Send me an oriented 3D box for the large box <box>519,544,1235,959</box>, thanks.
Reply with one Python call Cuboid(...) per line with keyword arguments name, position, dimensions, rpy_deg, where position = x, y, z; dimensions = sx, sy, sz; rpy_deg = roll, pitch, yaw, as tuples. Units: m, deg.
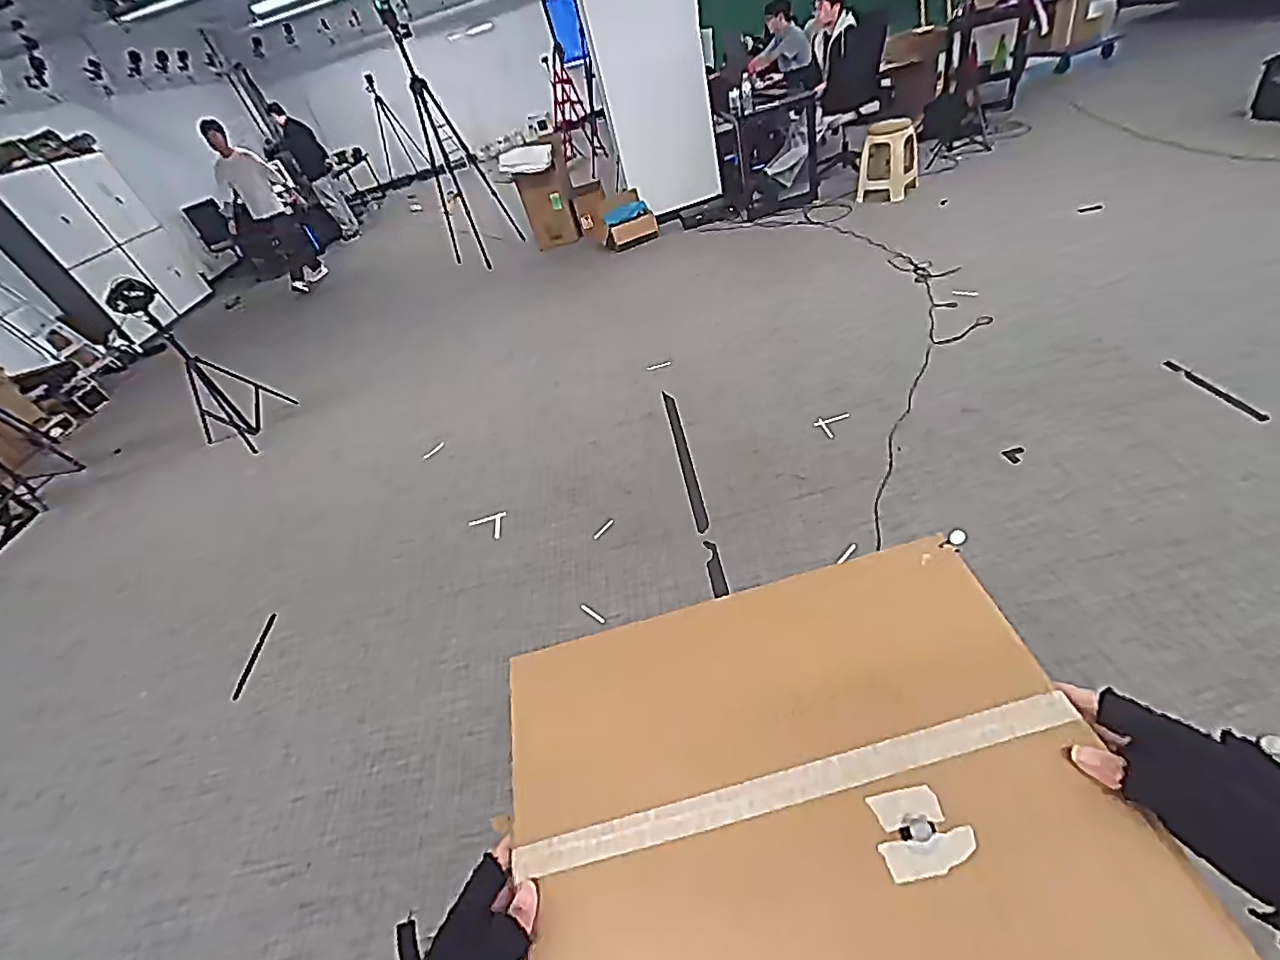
Cuboid(name="large box", position=(0.137, 0.319, 0.504), dimensions=(0.408, 0.320, 0.320), rpy_deg=(-16, 48, 0))
